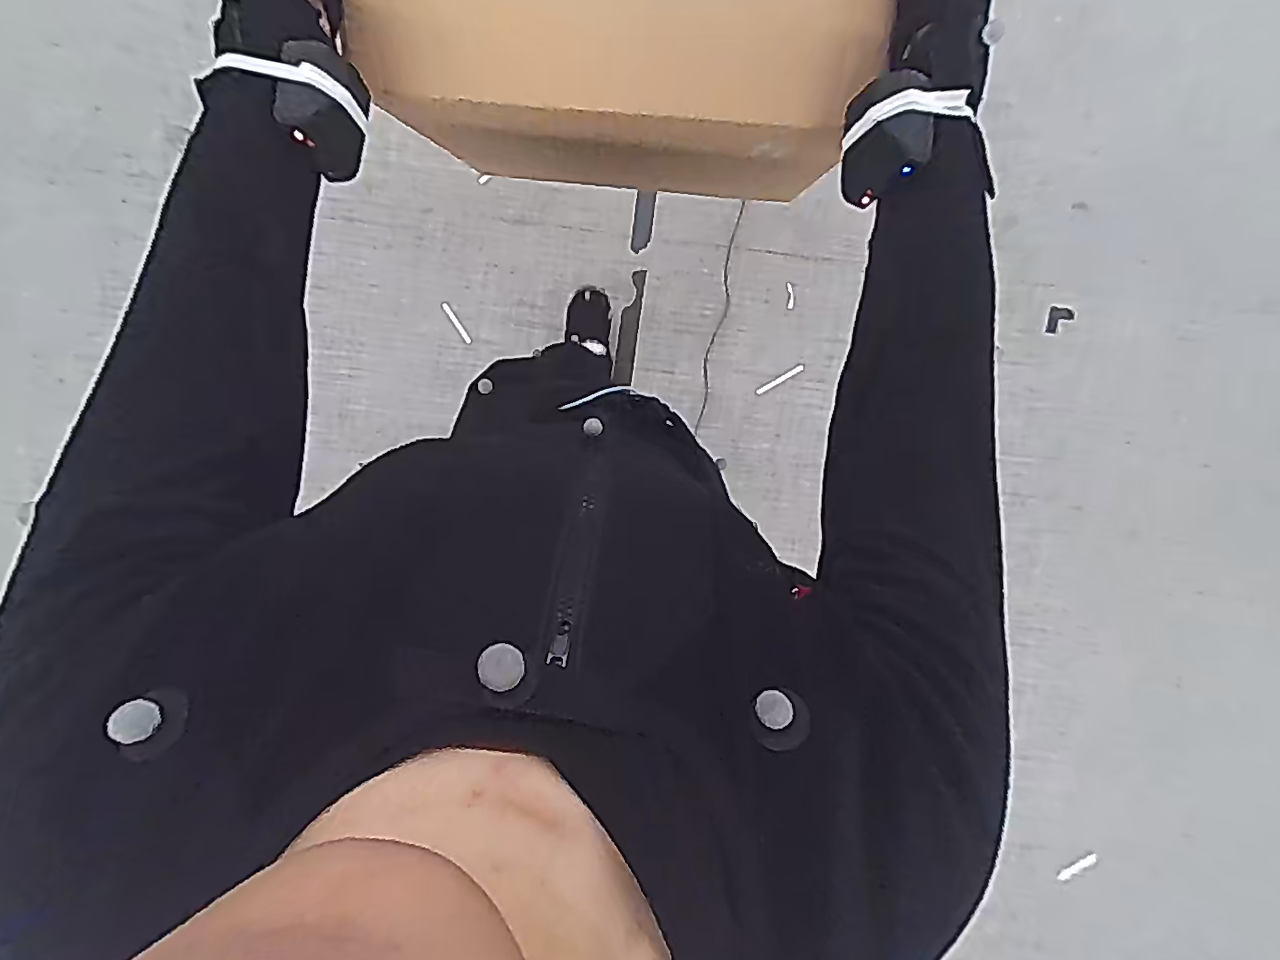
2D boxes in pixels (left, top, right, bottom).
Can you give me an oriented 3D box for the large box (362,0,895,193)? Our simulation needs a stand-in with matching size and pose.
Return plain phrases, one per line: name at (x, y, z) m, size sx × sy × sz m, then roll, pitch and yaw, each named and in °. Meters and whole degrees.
large box at (-0.001, -0.483, 0.515) m, size 0.408 × 0.320 × 0.320 m, roll 5°, pitch 109°, yaw 1°
